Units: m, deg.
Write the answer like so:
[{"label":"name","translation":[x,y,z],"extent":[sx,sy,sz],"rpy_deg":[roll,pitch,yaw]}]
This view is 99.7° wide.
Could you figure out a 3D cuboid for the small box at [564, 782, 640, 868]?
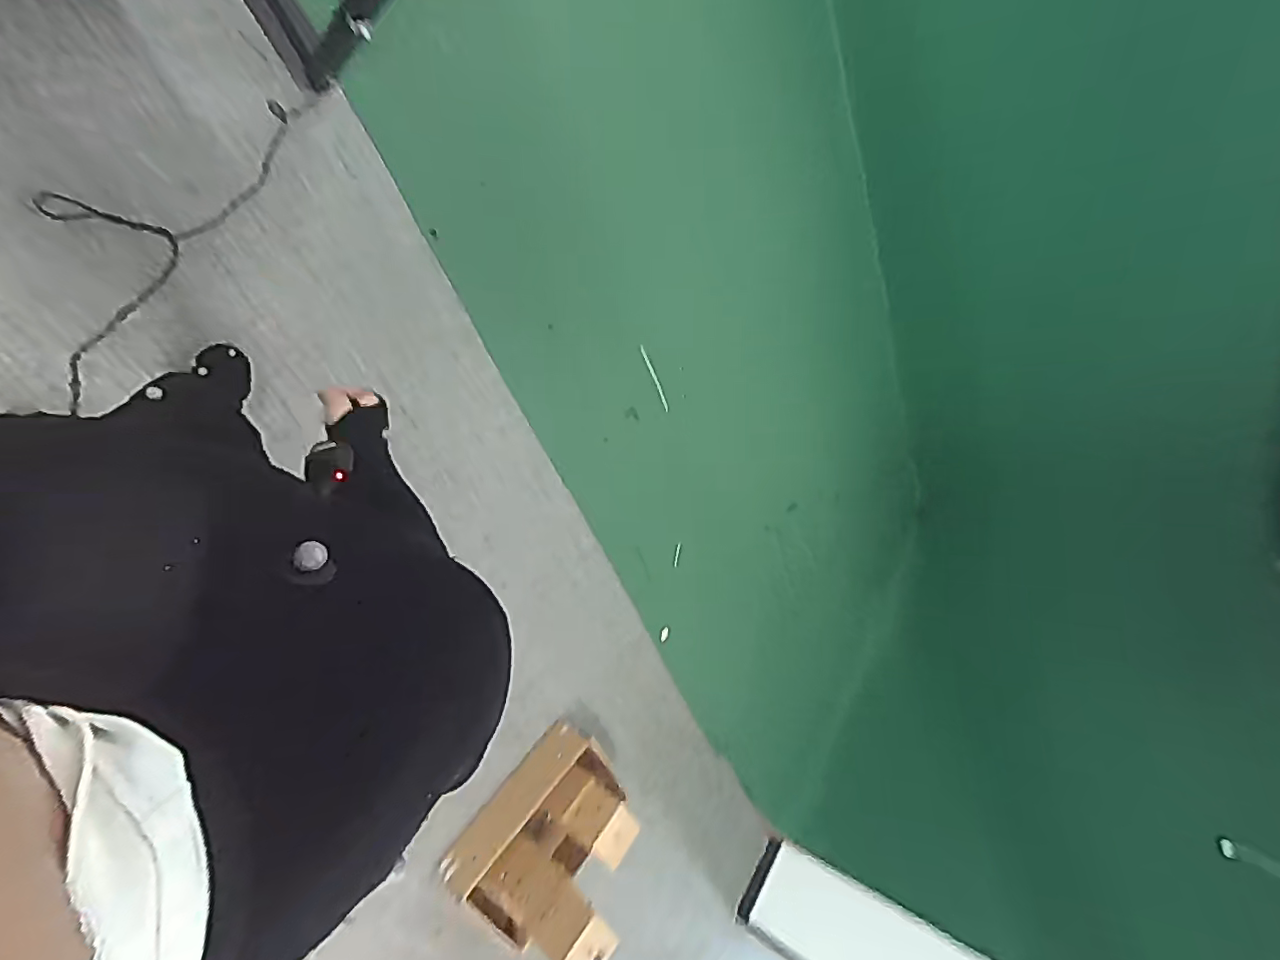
[{"label":"small box","translation":[-0.137,1.204,1.903],"extent":[0.168,0.176,0.179],"rpy_deg":[-46,124,-31]}]

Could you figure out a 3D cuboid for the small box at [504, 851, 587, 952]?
[{"label":"small box","translation":[-0.309,1.347,1.745],"extent":[0.168,0.176,0.179],"rpy_deg":[-39,120,-34]}]

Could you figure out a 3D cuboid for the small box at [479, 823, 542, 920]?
[{"label":"small box","translation":[-0.427,1.336,1.857],"extent":[0.179,0.176,0.168],"rpy_deg":[-40,120,-36]}]
